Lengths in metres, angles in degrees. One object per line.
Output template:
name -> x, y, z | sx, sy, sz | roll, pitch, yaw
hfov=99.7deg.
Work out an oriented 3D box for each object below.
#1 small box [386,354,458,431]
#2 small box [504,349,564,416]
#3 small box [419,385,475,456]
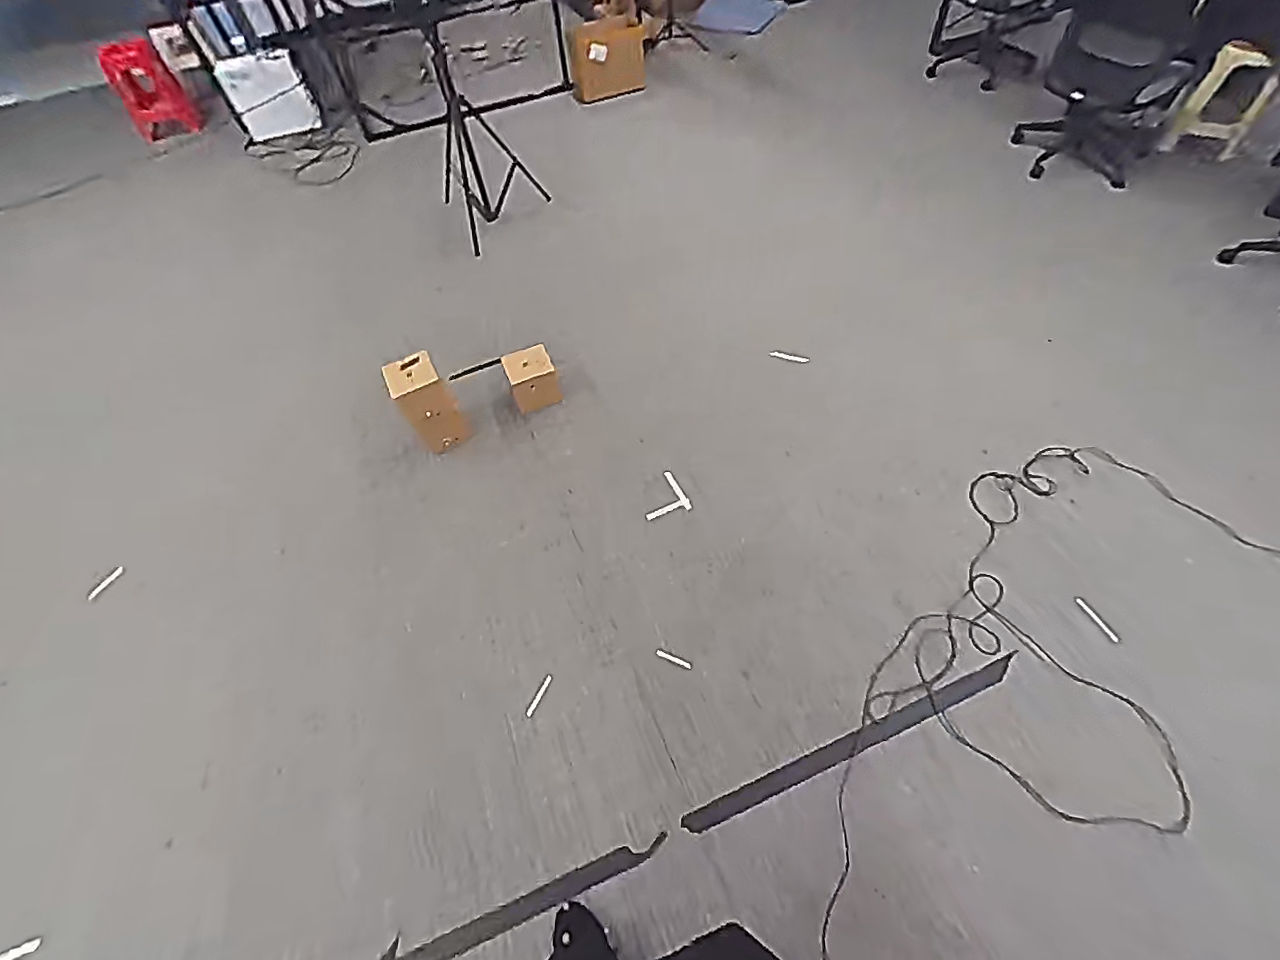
small box -> -0.772, -0.308, 1.919 | 0.168, 0.176, 0.179 | -26, 58, -11
small box -> -0.416, -0.380, 2.135 | 0.179, 0.176, 0.168 | -20, 57, -10
small box -> -0.755, -0.223, 2.058 | 0.168, 0.176, 0.179 | -27, 58, -12
